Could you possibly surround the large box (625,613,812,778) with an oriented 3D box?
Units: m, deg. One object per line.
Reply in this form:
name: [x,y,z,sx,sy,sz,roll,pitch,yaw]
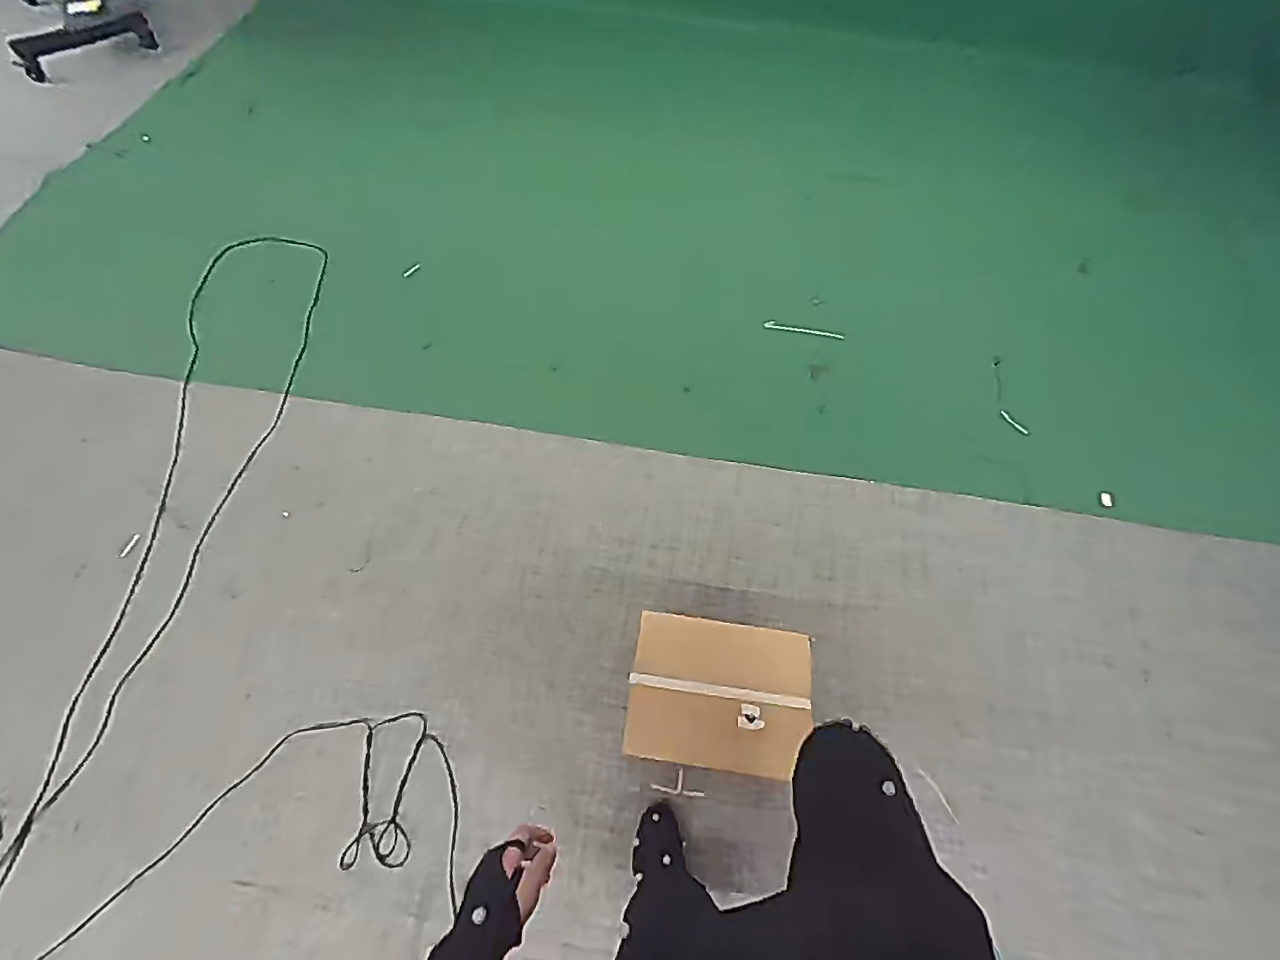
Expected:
large box: [0.177,0.546,1.350,0.408,0.320,0.320,7,61,1]
